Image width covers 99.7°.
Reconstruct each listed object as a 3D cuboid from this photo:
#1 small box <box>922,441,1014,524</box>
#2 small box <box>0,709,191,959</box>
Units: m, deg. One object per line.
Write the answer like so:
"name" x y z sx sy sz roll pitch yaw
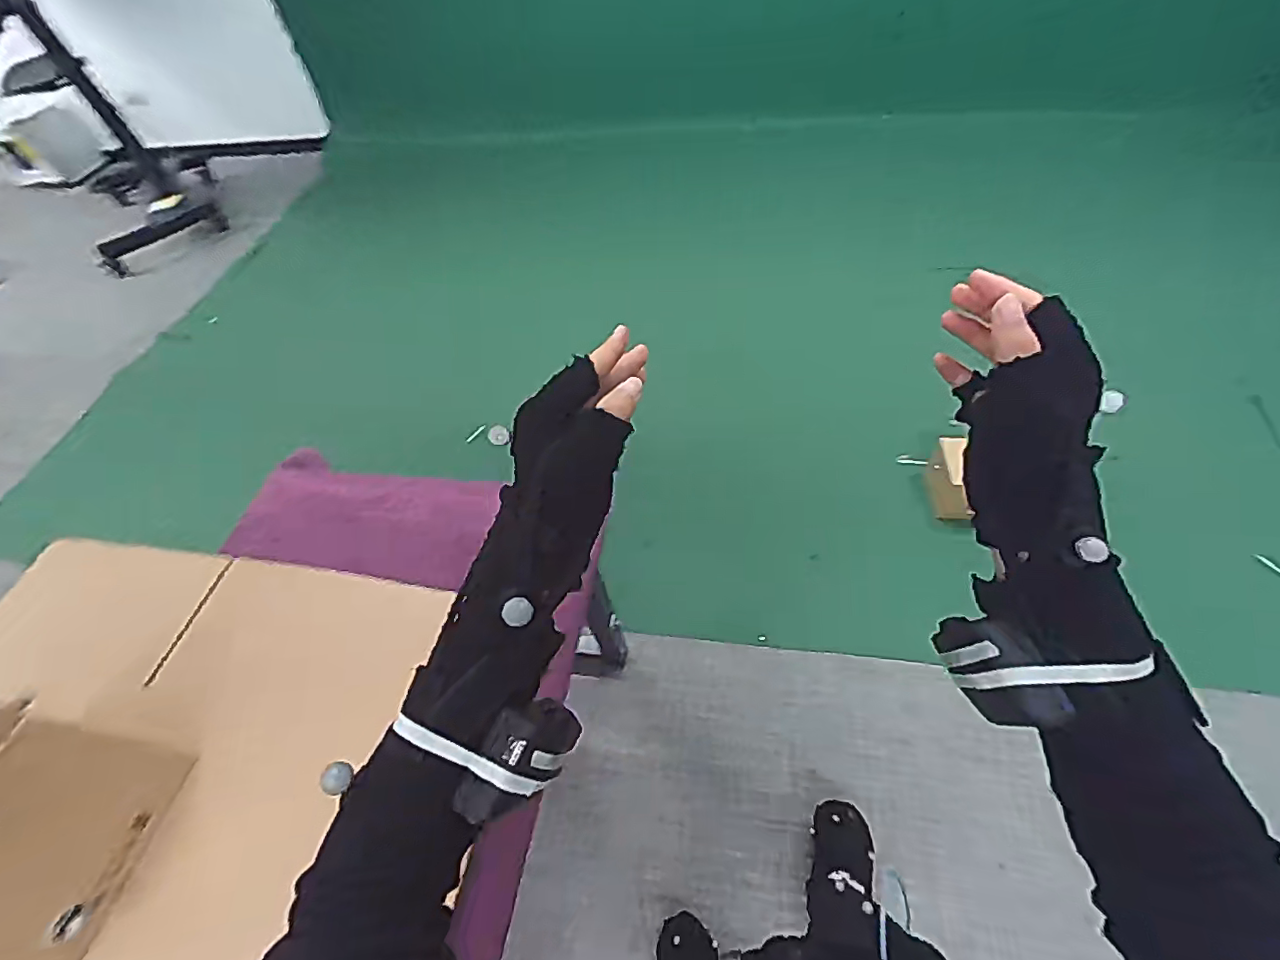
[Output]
"small box" 0.952 0.007 1.588 0.168 0.176 0.179 2 54 9
"small box" -0.544 0.289 0.448 0.179 0.176 0.168 3 54 13
